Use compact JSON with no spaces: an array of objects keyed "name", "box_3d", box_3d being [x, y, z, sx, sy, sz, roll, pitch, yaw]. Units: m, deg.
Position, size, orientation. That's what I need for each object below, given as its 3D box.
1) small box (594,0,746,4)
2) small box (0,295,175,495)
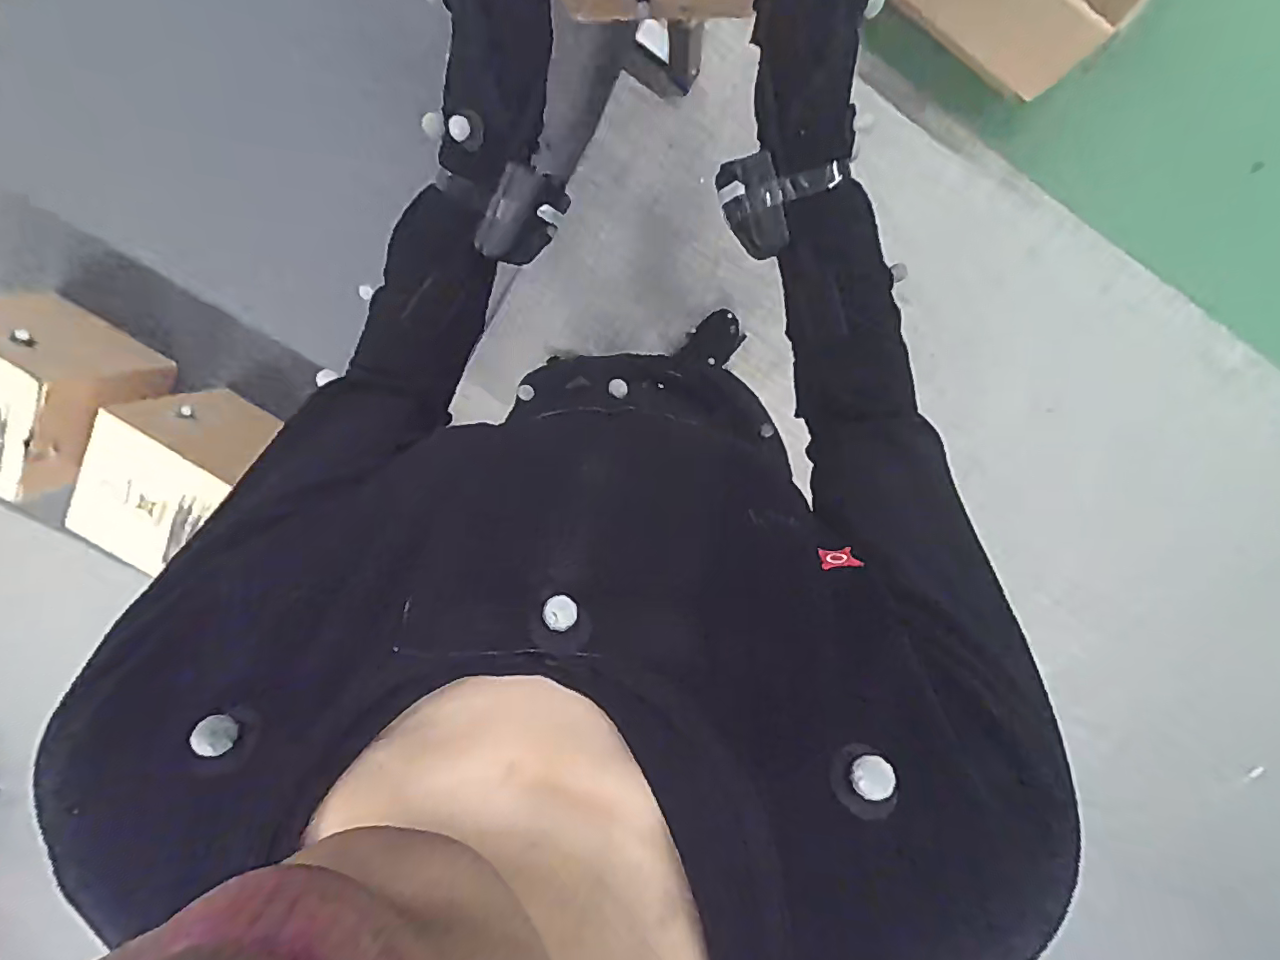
[{"name":"small box","box_3d":[0.022,-0.455,0.362,0.168,0.176,0.179,2,121,3]},{"name":"small box","box_3d":[-0.735,-0.114,0.663,0.179,0.176,0.168,31,108,-6]}]
